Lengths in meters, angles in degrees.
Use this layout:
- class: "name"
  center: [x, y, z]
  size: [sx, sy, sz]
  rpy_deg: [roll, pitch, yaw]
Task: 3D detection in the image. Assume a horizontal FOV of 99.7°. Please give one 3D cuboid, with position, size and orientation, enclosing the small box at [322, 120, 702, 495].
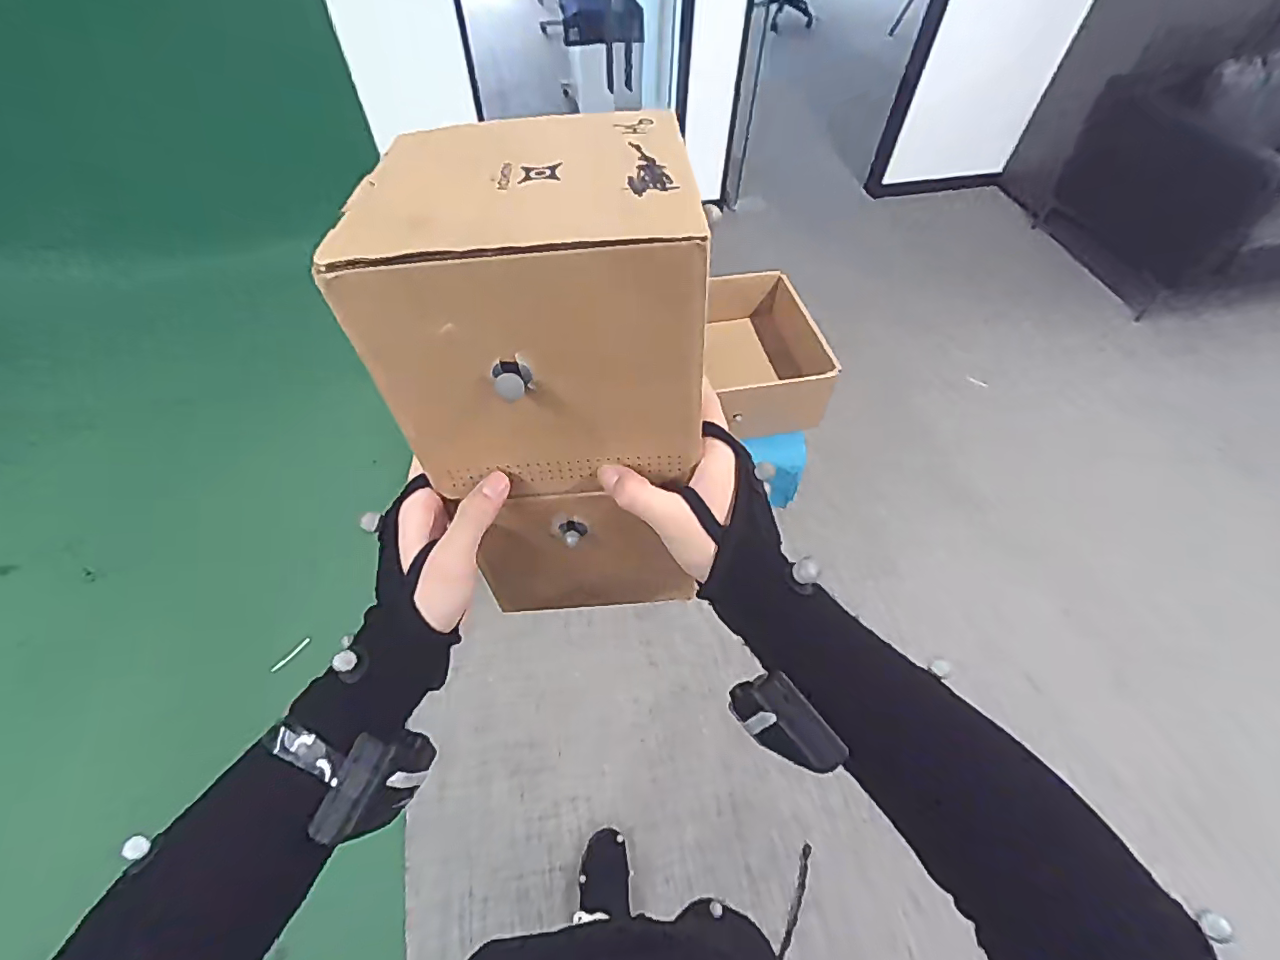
- class: "small box"
  center: [-0.055, -0.104, 0.350]
  size: [0.179, 0.176, 0.168]
  rpy_deg: [-5, 50, 1]

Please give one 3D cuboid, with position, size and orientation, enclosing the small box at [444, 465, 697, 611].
- class: "small box"
  center: [-0.044, 0.003, 0.474]
  size: [0.179, 0.176, 0.168]
  rpy_deg: [-4, 49, 1]
